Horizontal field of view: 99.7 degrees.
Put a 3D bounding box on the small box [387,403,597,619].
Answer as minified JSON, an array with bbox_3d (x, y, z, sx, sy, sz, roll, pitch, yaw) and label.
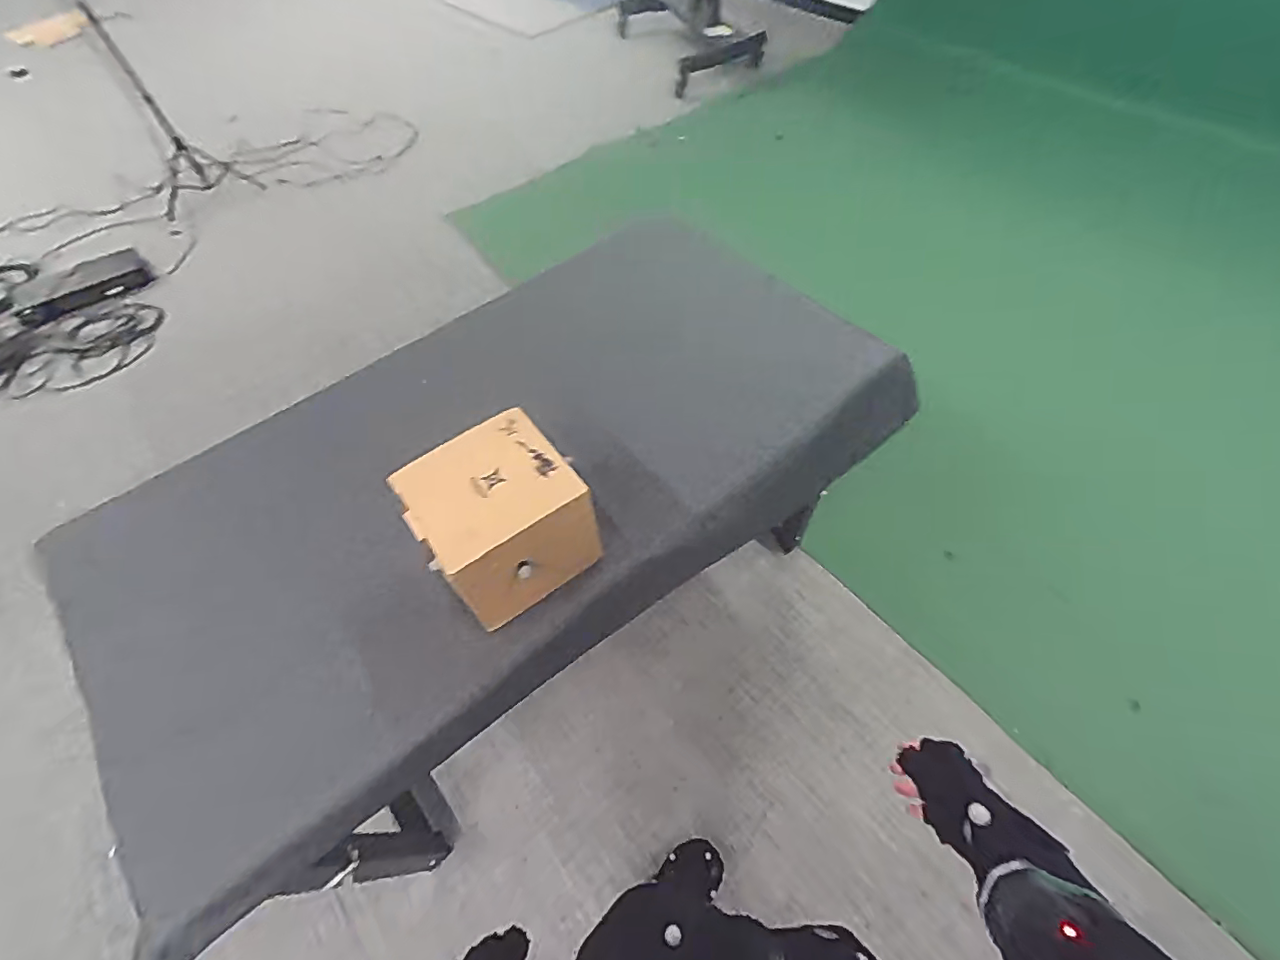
[{"bbox_3d":[-0.173,0.044,0.679,0.179,0.176,0.168,-33,60,-17],"label":"small box"}]
